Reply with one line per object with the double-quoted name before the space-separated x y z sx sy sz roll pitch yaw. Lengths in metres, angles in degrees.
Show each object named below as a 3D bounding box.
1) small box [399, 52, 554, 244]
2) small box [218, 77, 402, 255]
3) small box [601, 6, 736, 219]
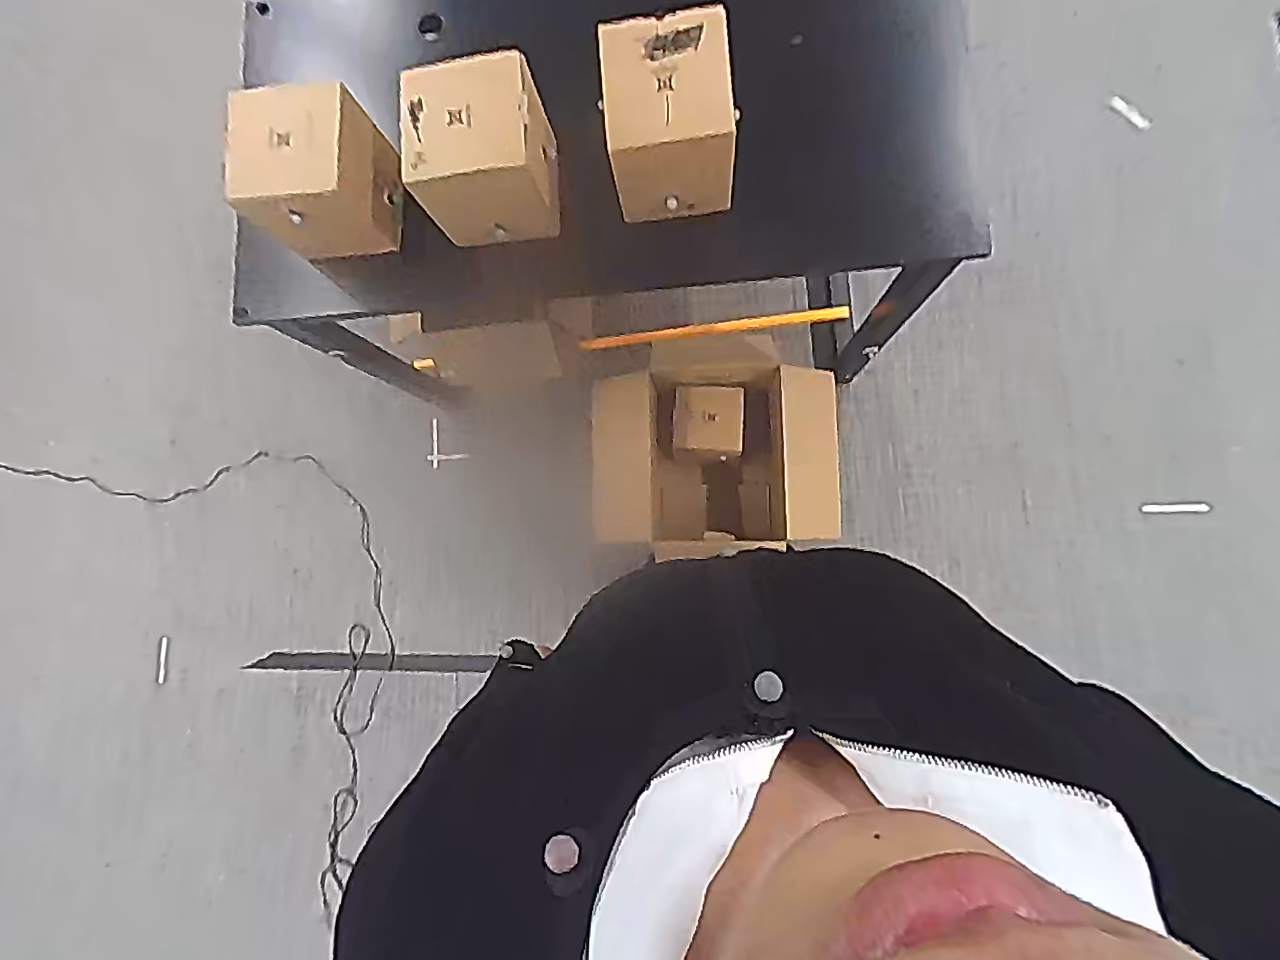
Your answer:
"small box" -0.227 -0.472 0.793 0.179 0.176 0.168 -5 83 5
"small box" -0.489 -0.461 0.821 0.179 0.176 0.168 -3 85 5
"small box" 0.042 -0.504 0.764 0.168 0.176 0.179 -5 84 6
